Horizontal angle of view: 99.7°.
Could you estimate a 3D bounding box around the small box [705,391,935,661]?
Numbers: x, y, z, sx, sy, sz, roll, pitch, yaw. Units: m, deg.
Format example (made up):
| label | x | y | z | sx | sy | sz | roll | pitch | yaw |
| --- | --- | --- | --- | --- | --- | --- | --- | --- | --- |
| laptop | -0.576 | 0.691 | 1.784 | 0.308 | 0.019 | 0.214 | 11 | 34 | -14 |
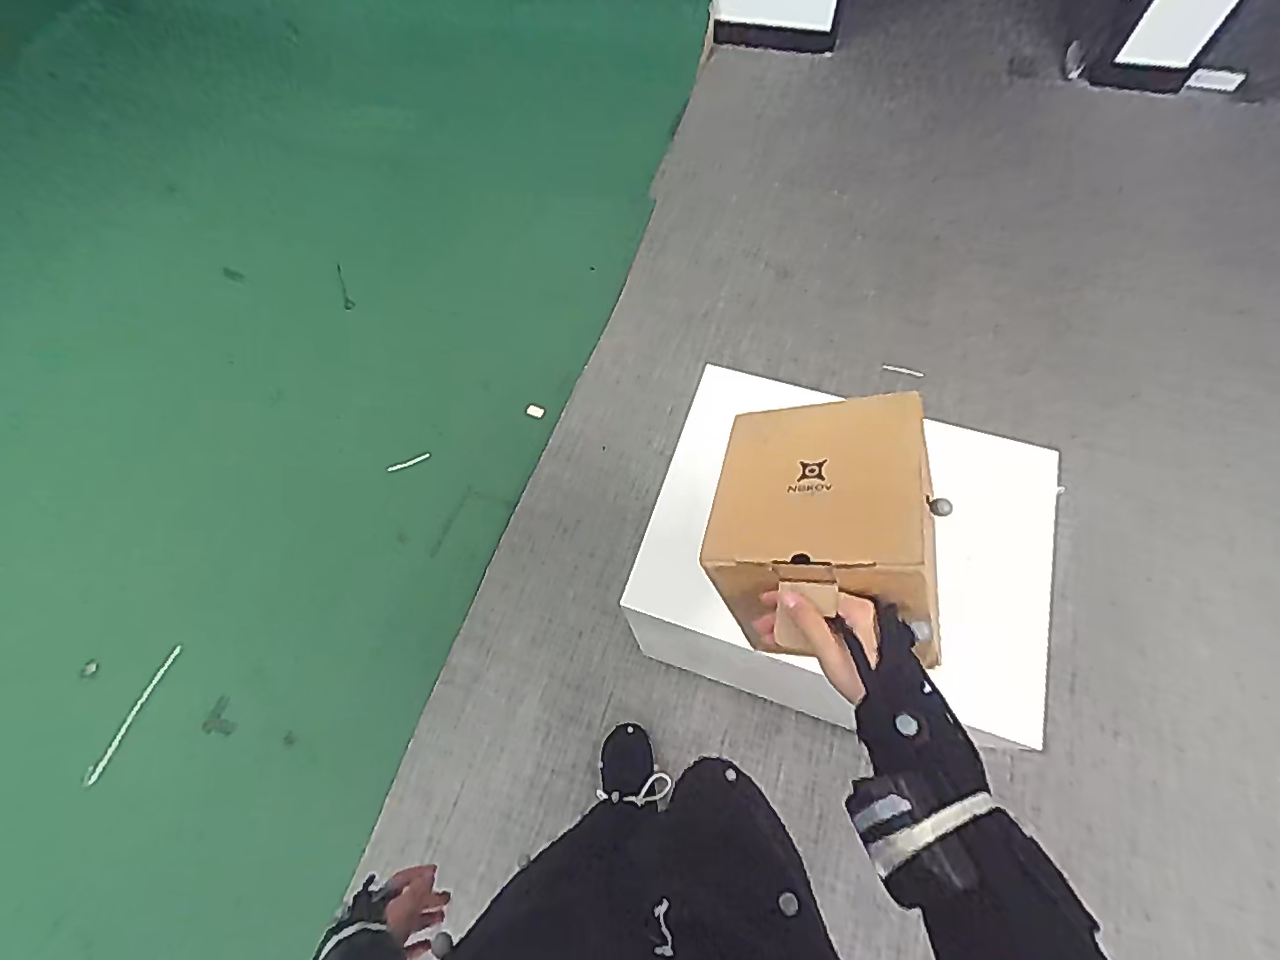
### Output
| label | x | y | z | sx | sy | sz | roll | pitch | yaw |
| --- | --- | --- | --- | --- | --- | --- | --- | --- | --- |
| small box | 0.177 | 0.044 | 0.504 | 0.168 | 0.176 | 0.179 | -3 | 49 | 29 |
